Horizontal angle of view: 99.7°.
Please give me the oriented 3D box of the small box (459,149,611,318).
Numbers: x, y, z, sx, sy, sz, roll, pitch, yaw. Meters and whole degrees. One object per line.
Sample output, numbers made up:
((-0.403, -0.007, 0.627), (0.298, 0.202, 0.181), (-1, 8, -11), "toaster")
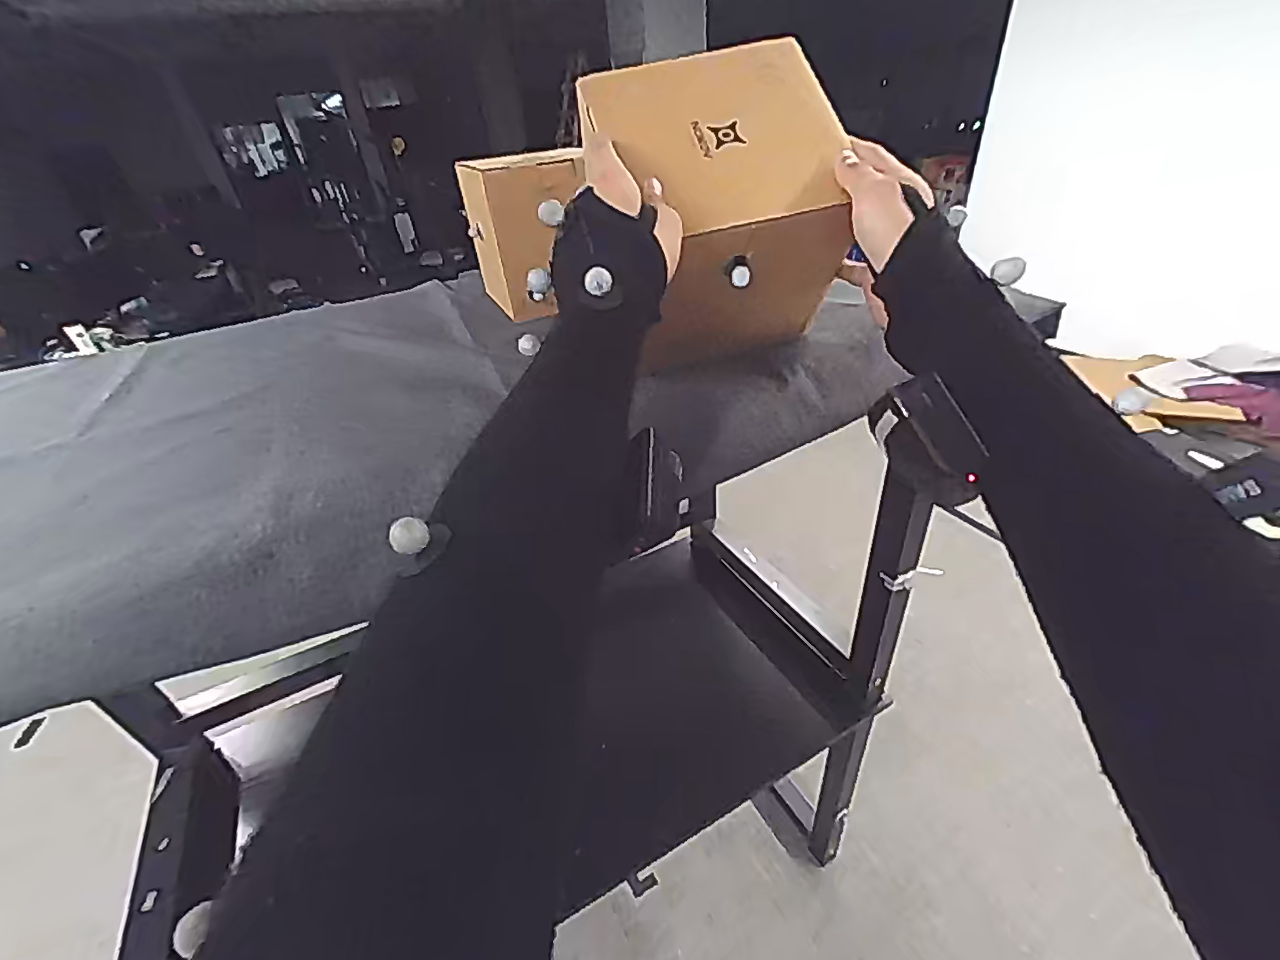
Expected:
((-0.120, -0.322, 0.707), (0.168, 0.176, 0.179), (-19, 36, -17), "small box")

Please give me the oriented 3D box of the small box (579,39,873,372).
((0.056, -0.216, 0.458), (0.179, 0.176, 0.168), (-15, 71, -4), "small box")
